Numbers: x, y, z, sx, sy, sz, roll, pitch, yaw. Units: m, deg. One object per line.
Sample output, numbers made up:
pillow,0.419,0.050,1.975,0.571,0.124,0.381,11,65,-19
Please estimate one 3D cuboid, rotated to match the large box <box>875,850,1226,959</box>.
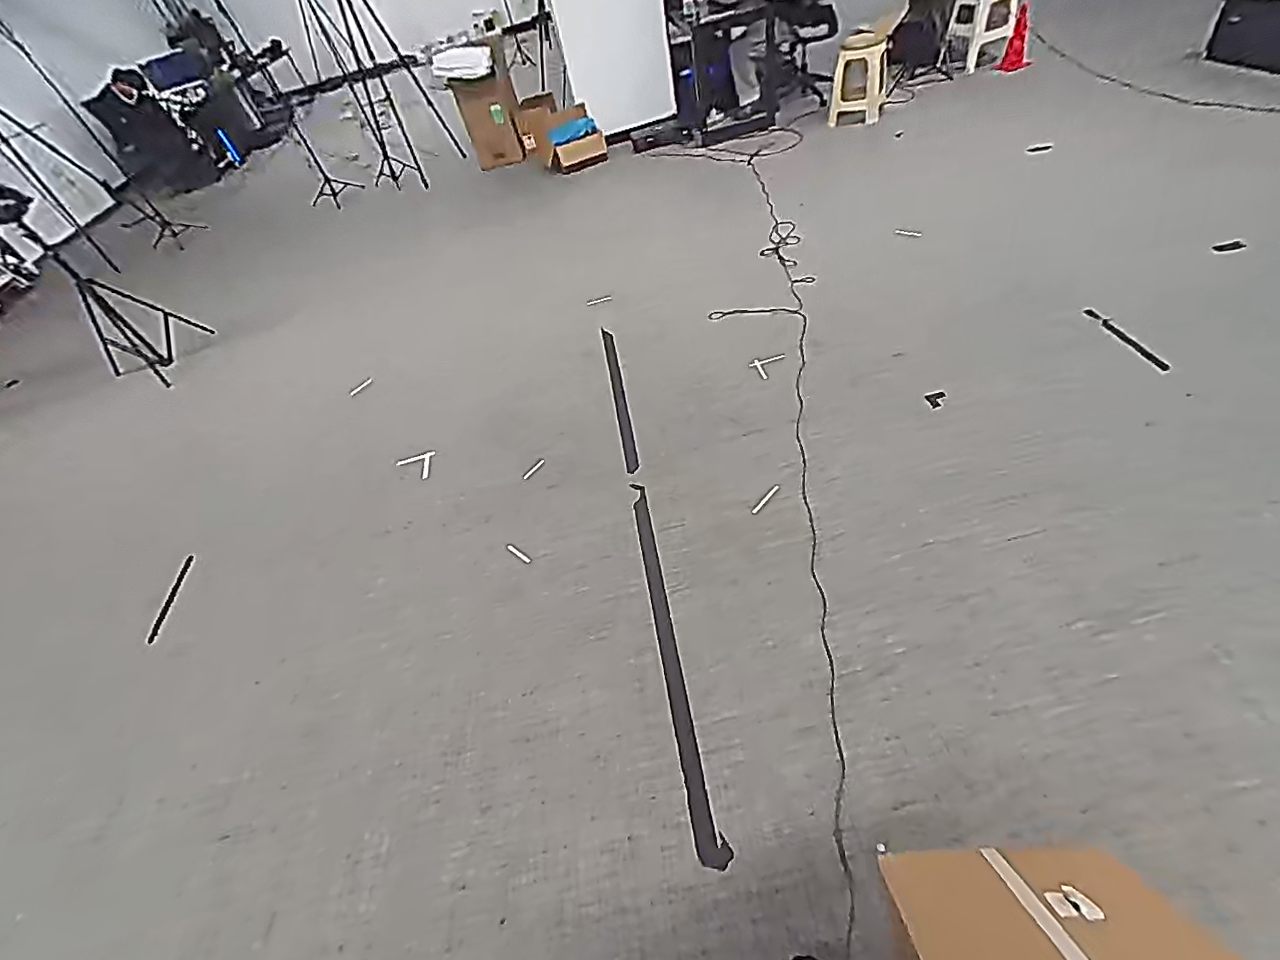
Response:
large box,0.496,0.680,0.586,0.320,0.408,0.320,-8,81,8
